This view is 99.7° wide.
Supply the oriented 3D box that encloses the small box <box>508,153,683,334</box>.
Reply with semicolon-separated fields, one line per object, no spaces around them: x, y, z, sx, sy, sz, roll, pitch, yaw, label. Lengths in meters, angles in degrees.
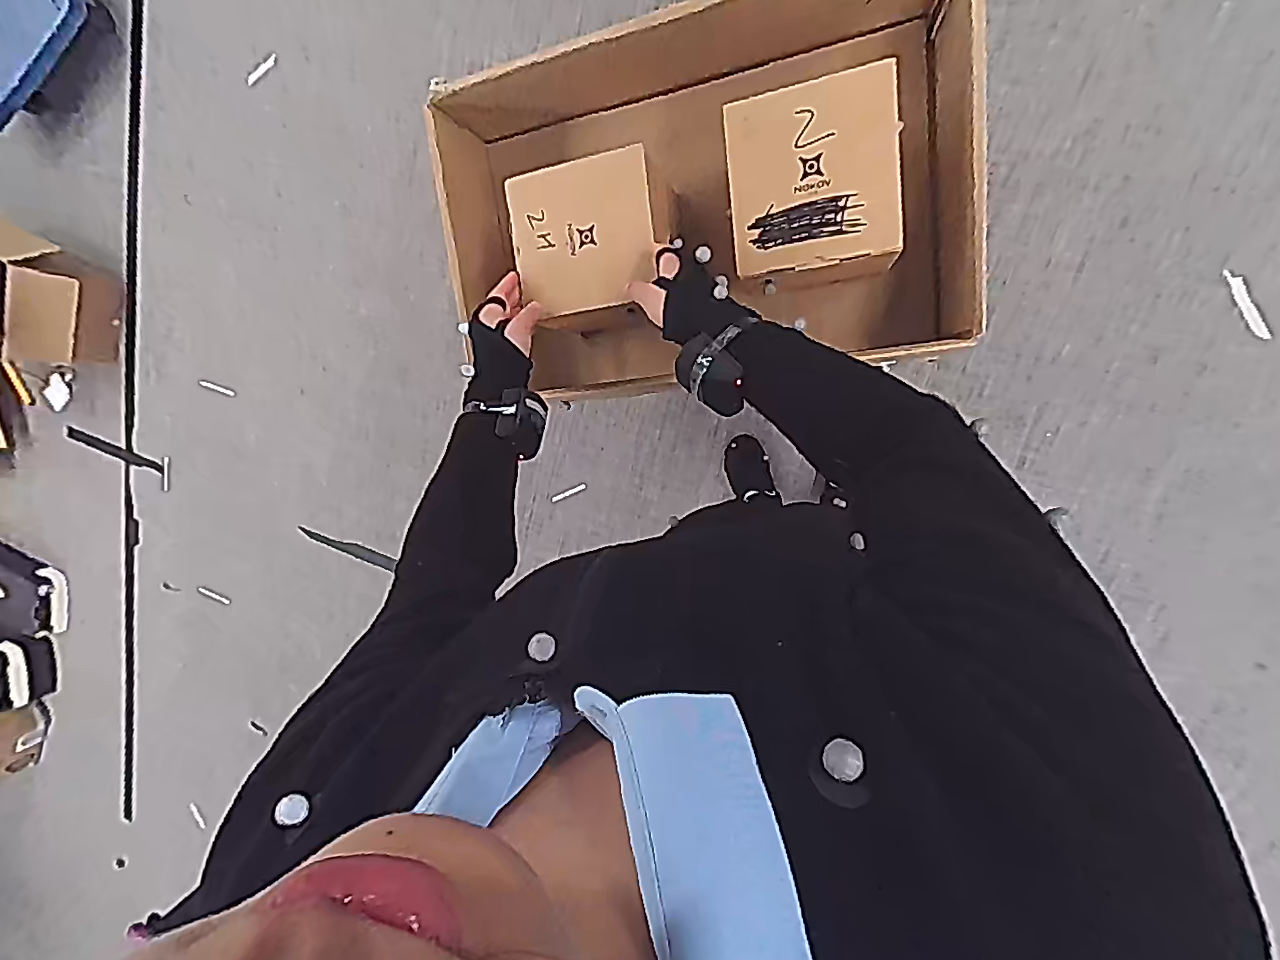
-0.044;-0.289;0.703;0.179;0.176;0.168;-4;98;17;small box
